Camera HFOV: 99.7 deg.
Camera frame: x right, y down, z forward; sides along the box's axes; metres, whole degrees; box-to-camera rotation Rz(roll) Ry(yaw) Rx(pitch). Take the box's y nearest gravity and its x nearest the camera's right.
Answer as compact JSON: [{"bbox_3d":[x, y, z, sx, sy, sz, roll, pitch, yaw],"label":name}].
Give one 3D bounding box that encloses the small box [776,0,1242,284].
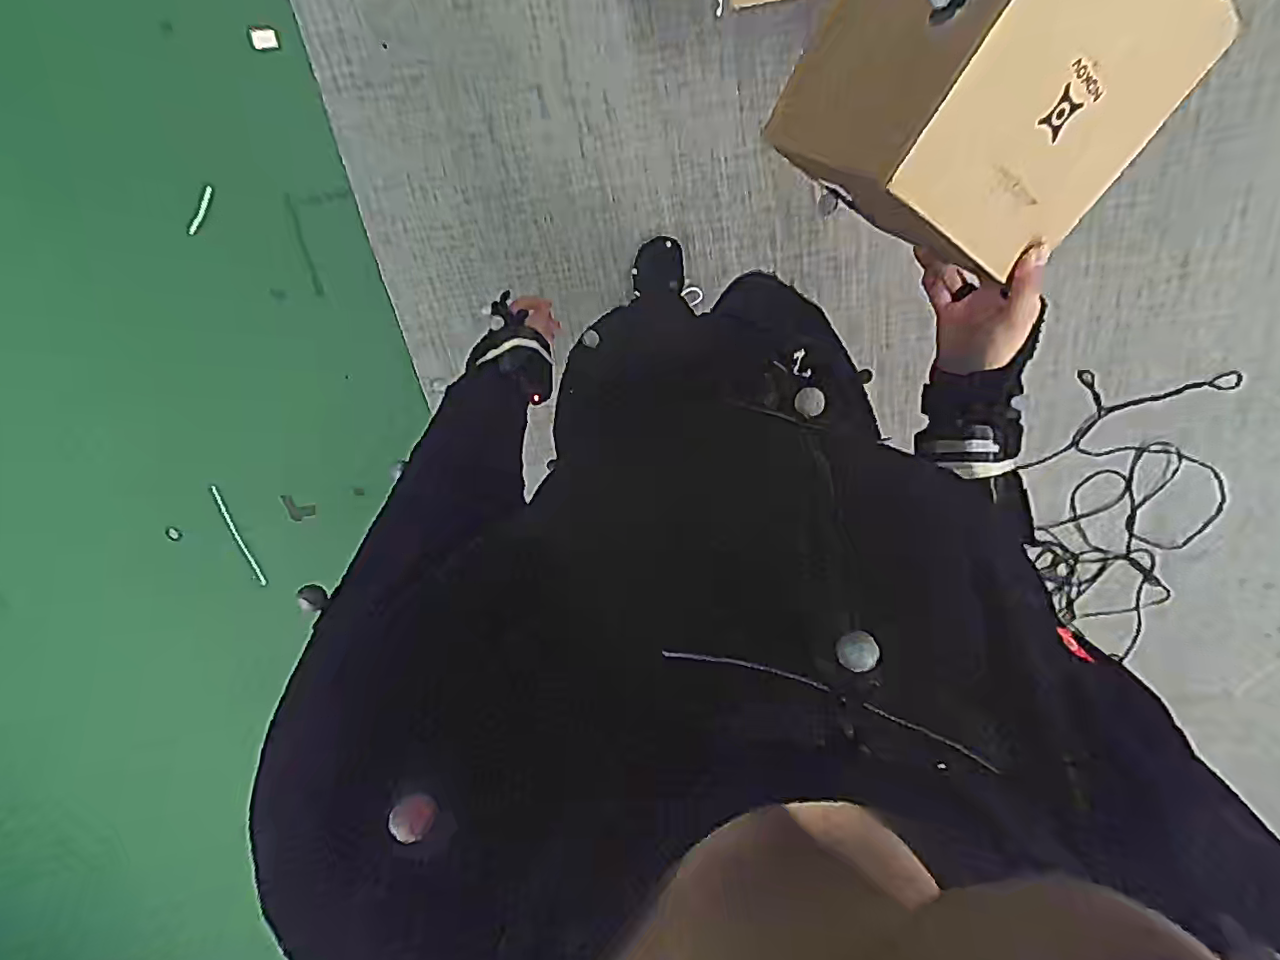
[{"bbox_3d":[0.229,-0.275,0.375,0.168,0.176,0.179,15,121,-32],"label":"small box"}]
